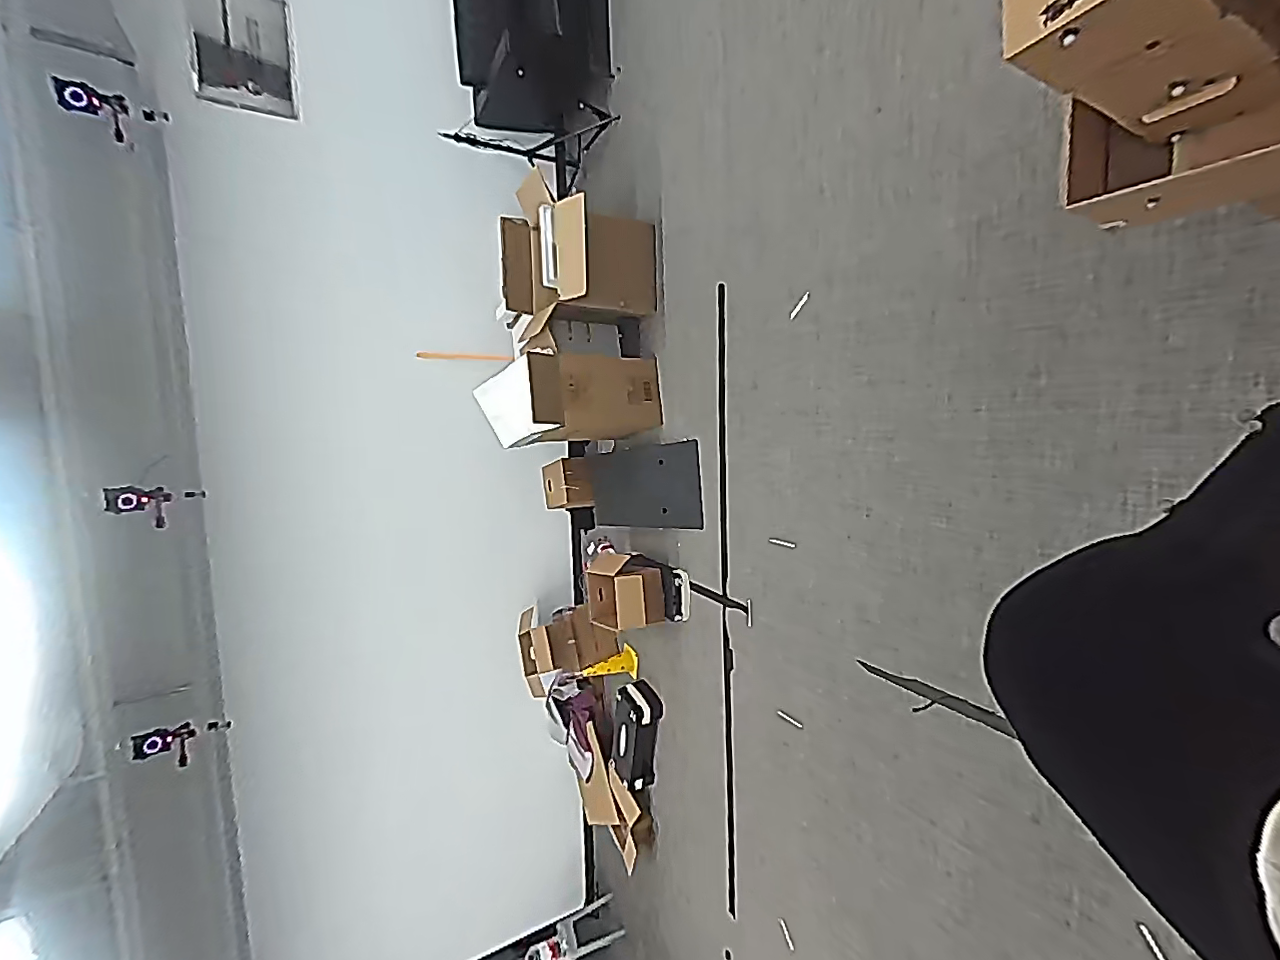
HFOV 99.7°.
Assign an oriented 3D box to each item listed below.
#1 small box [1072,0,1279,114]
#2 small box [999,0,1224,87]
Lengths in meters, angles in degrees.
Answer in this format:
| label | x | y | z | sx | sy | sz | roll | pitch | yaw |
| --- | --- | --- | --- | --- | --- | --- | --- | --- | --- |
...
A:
| label | x | y | z | sx | sy | sz | roll | pitch | yaw |
| --- | --- | --- | --- | --- | --- | --- | --- | --- | --- |
| small box | 0.722 | -0.643 | 0.732 | 0.168 | 0.176 | 0.179 | 5 | 99 | 61 |
| small box | 0.574 | -0.633 | 0.659 | 0.168 | 0.176 | 0.179 | 5 | 98 | 63 |
